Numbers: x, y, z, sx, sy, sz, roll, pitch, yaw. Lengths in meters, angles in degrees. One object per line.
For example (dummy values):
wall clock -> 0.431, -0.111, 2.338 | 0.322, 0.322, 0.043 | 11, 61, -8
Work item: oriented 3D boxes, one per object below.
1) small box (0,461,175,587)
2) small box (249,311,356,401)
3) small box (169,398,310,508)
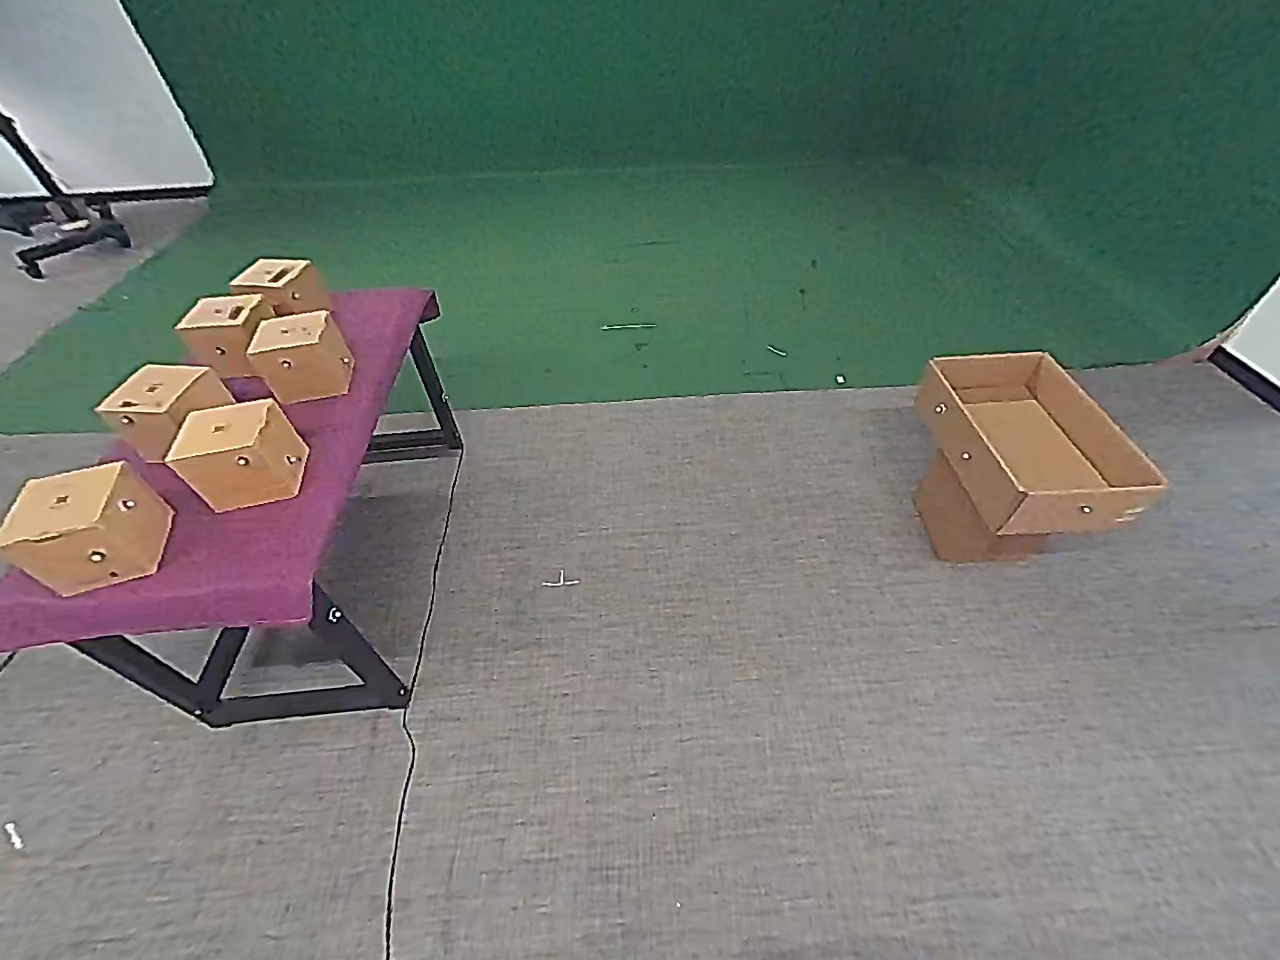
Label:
small box -> -1.088, 0.094, 1.084 | 0.168, 0.176, 0.179 | -14, 48, -12
small box -> -0.907, -0.333, 1.469 | 0.179, 0.176, 0.168 | -11, 49, -6
small box -> -0.886, -0.057, 1.216 | 0.179, 0.176, 0.168 | -12, 47, -8
